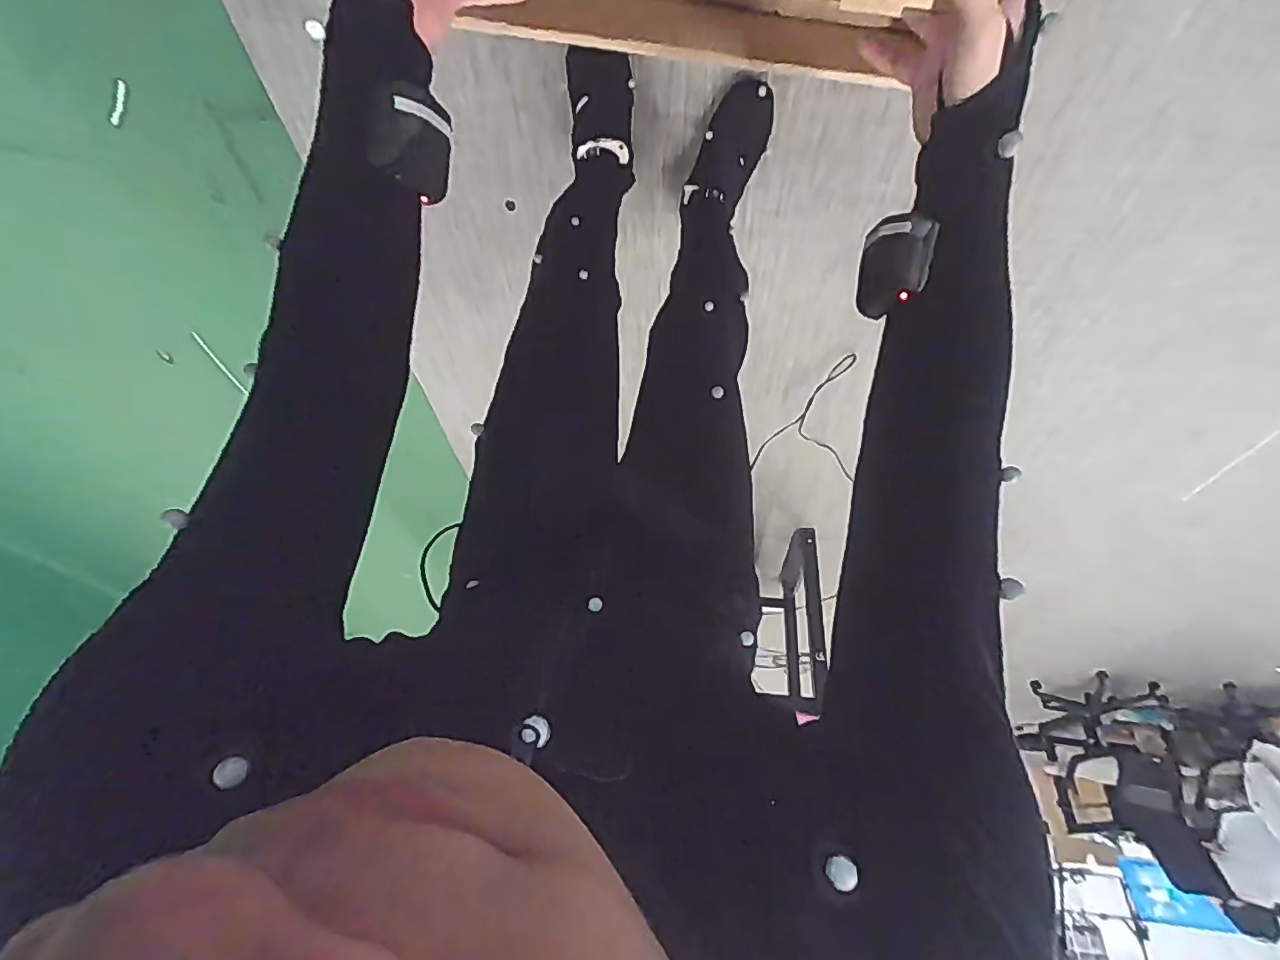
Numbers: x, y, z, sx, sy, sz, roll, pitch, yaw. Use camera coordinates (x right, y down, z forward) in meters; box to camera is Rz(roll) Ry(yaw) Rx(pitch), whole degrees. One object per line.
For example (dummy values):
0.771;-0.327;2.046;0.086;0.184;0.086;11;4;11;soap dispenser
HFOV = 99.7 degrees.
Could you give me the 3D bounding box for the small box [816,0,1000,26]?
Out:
0.174;-0.435;0.344;0.168;0.176;0.179;7;144;-2;small box
